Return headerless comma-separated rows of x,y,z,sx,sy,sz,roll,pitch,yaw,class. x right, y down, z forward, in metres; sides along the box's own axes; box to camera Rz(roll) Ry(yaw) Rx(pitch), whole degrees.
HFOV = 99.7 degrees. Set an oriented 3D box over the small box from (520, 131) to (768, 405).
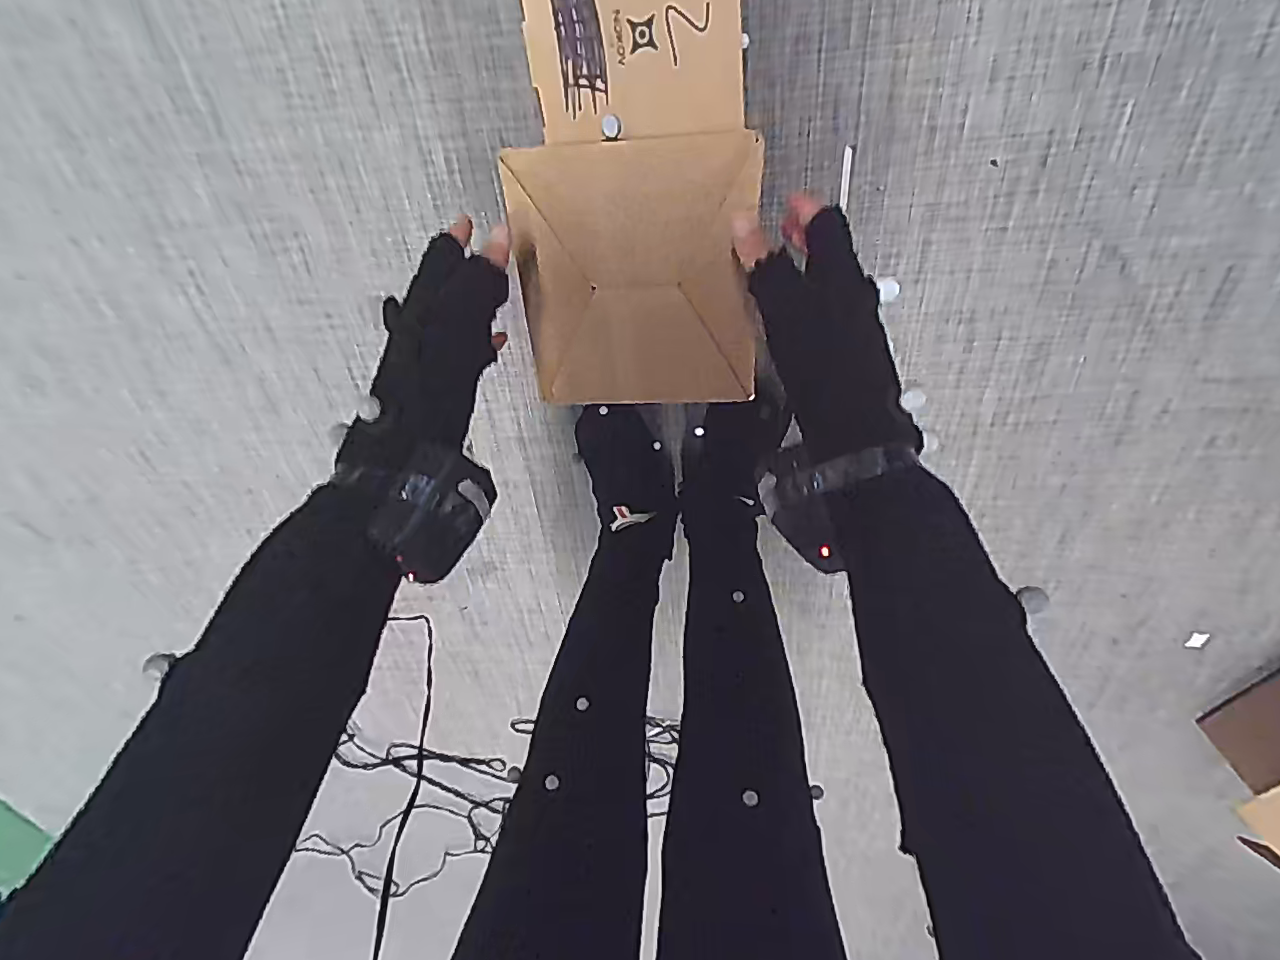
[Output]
0.010,-0.178,0.444,0.168,0.176,0.179,0,122,7,small box
